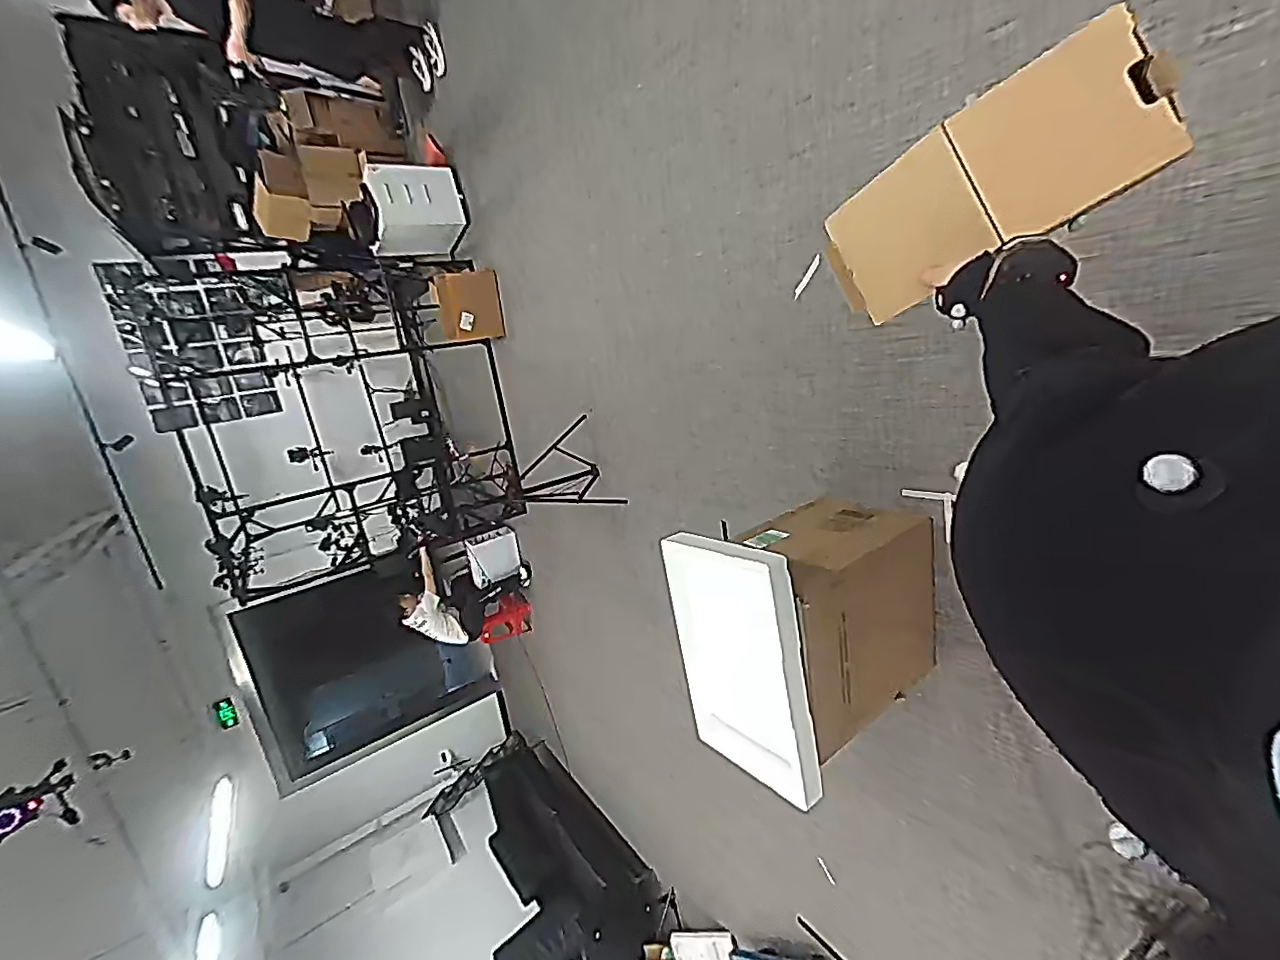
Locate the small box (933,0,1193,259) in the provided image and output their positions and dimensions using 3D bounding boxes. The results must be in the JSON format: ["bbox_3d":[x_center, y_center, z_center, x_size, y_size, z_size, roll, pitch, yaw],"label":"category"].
[{"bbox_3d":[0.464,-0.383,0.632,0.179,0.176,0.168,-28,92,26],"label":"small box"}]
